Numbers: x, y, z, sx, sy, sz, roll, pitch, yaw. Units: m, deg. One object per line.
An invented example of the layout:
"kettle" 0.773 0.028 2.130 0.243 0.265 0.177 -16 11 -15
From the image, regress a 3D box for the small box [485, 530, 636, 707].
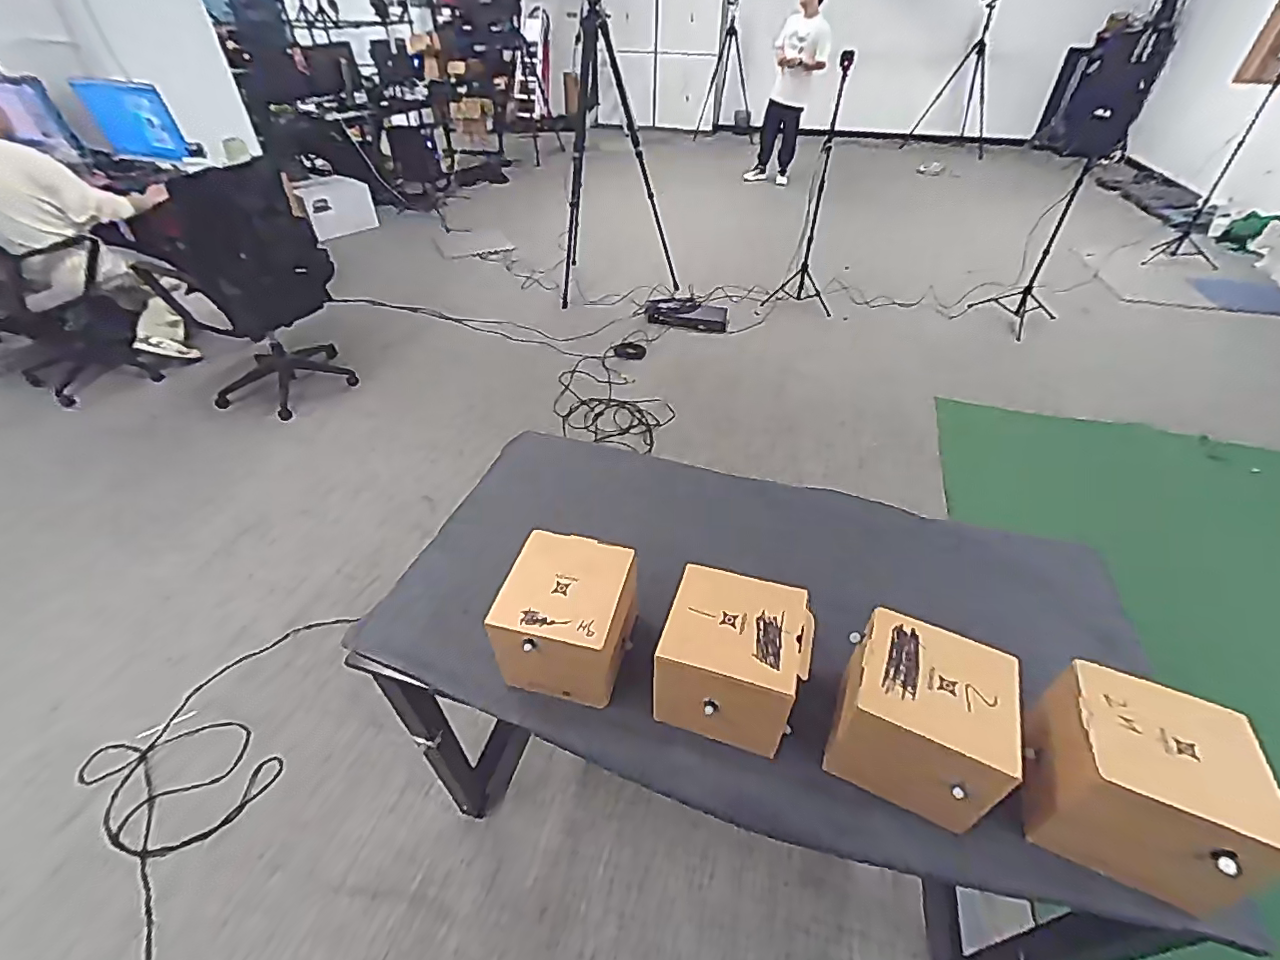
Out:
"small box" -0.107 0.206 0.813 0.168 0.176 0.179 9 42 12
